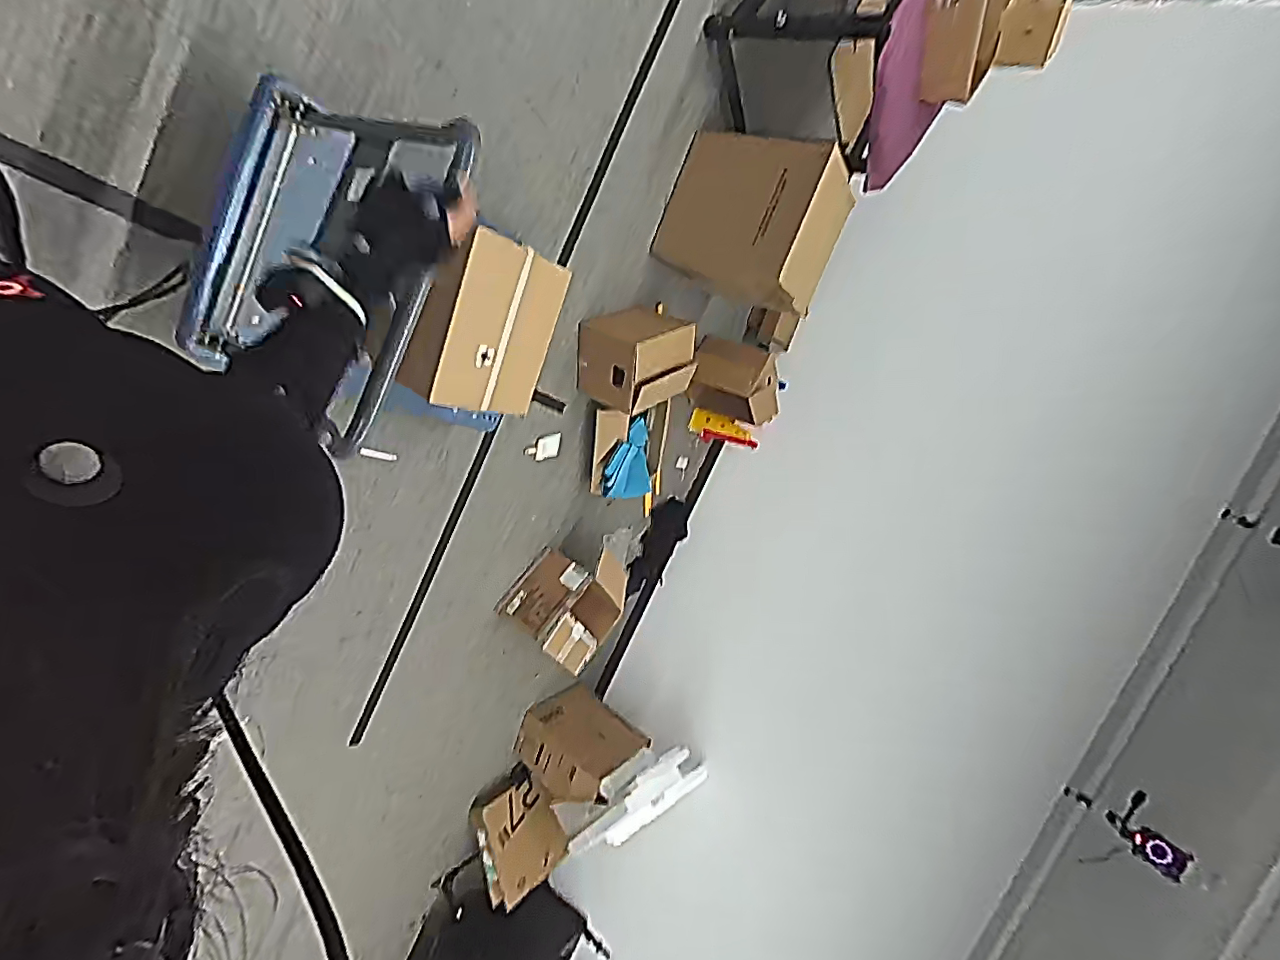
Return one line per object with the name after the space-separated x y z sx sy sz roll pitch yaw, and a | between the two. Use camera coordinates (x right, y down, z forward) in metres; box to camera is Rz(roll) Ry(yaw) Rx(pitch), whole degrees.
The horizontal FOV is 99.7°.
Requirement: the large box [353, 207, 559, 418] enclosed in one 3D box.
-0.470 -0.414 1.384 0.320 0.320 0.408 2 113 -58 | large box
